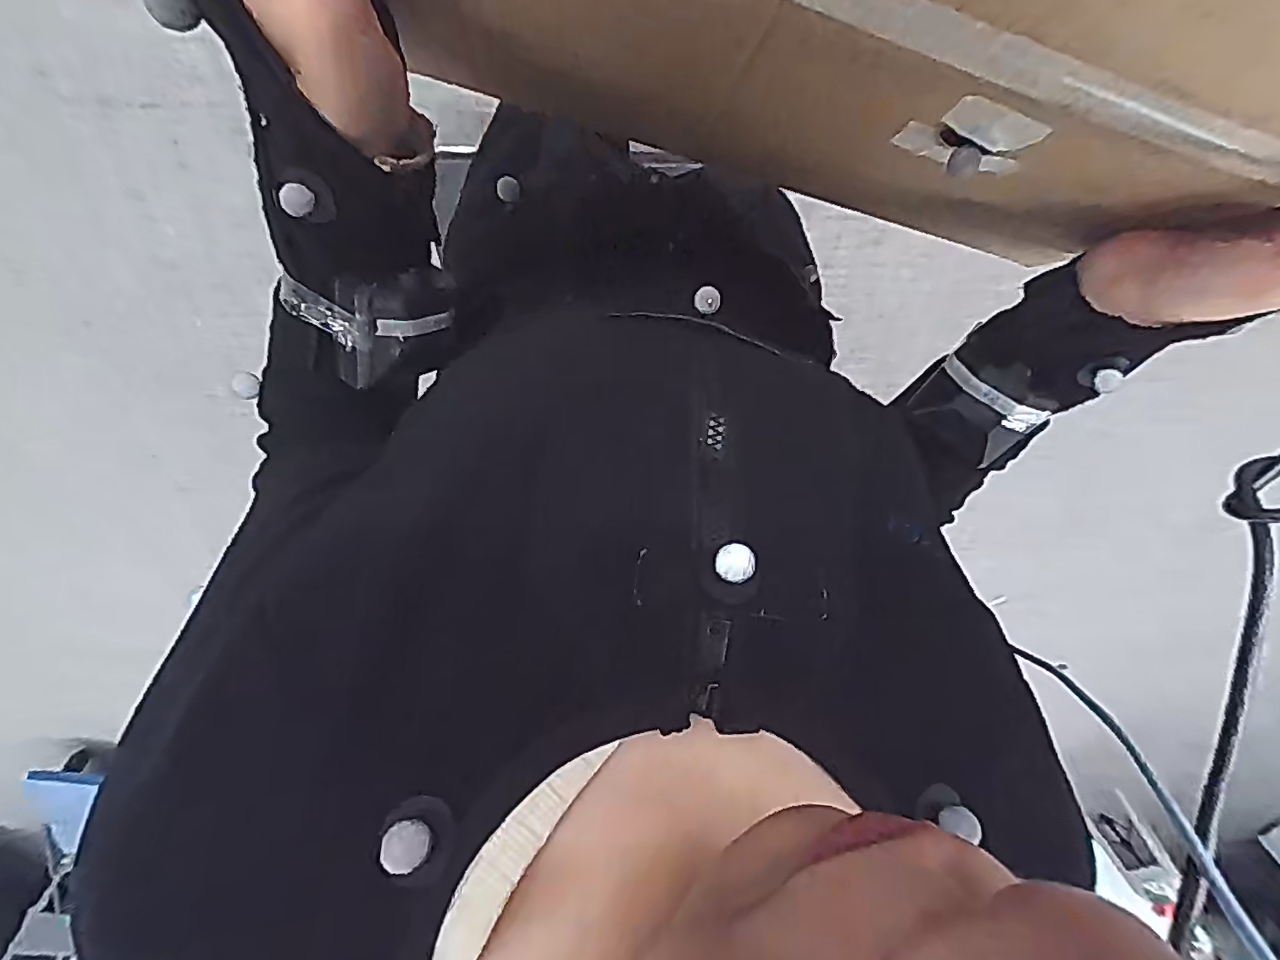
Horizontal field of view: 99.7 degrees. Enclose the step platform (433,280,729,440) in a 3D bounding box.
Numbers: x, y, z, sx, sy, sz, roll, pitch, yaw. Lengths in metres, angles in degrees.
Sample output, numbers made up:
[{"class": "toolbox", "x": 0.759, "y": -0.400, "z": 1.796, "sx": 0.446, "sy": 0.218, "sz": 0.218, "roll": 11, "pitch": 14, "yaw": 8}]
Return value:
[{"class": "step platform", "x": -0.133, "y": -0.280, "z": 1.304, "sx": 0.684, "sy": 0.204, "sz": 0.286, "roll": 5, "pitch": 126, "yaw": -6}]
